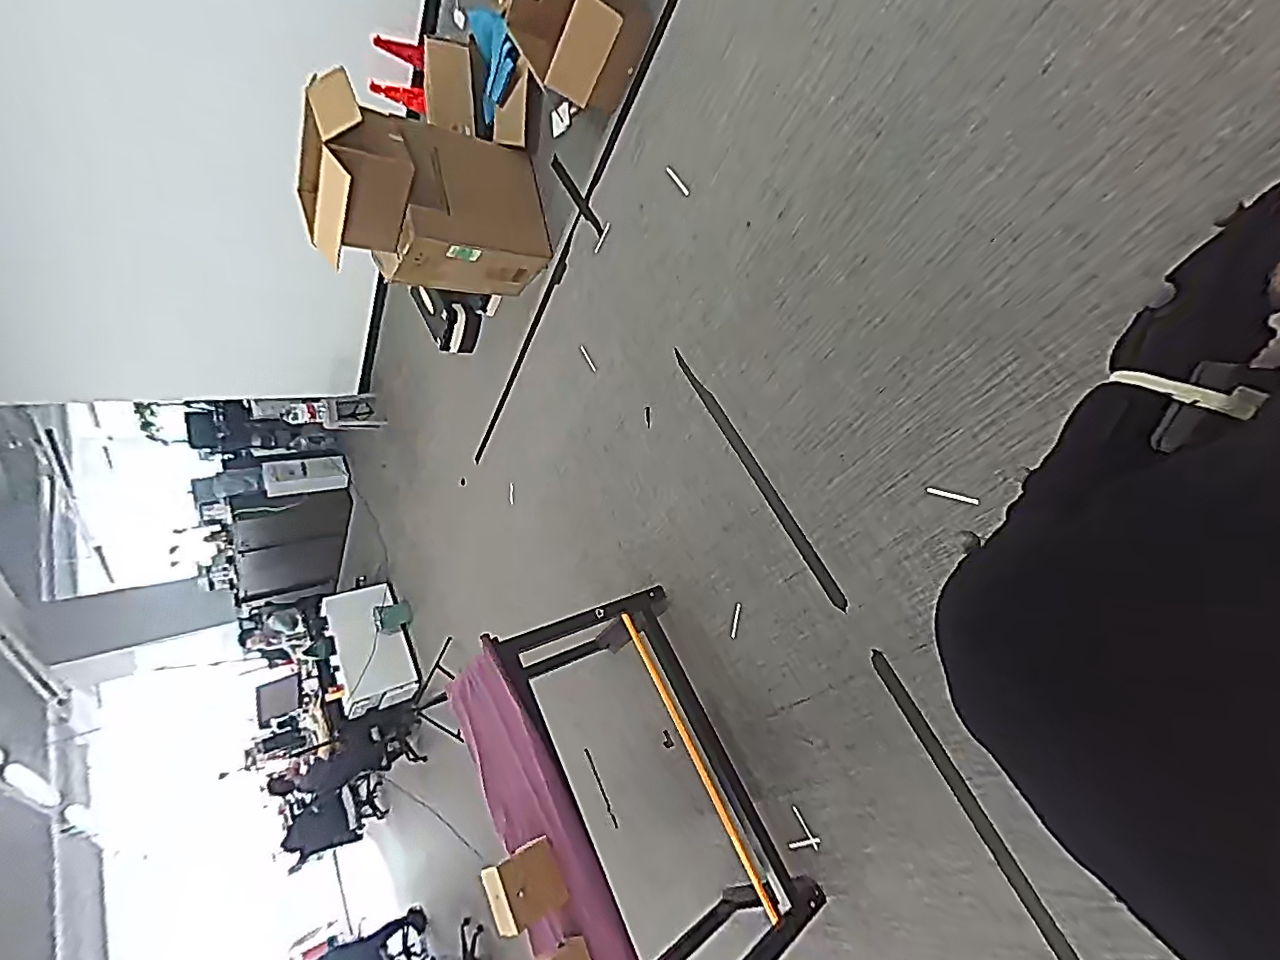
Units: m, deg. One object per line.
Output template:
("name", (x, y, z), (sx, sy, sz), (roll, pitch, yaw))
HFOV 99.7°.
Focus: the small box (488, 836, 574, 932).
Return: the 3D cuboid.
("small box", (-0.321, 1.182, 1.593), (0.168, 0.176, 0.179), (-52, 59, 43))
